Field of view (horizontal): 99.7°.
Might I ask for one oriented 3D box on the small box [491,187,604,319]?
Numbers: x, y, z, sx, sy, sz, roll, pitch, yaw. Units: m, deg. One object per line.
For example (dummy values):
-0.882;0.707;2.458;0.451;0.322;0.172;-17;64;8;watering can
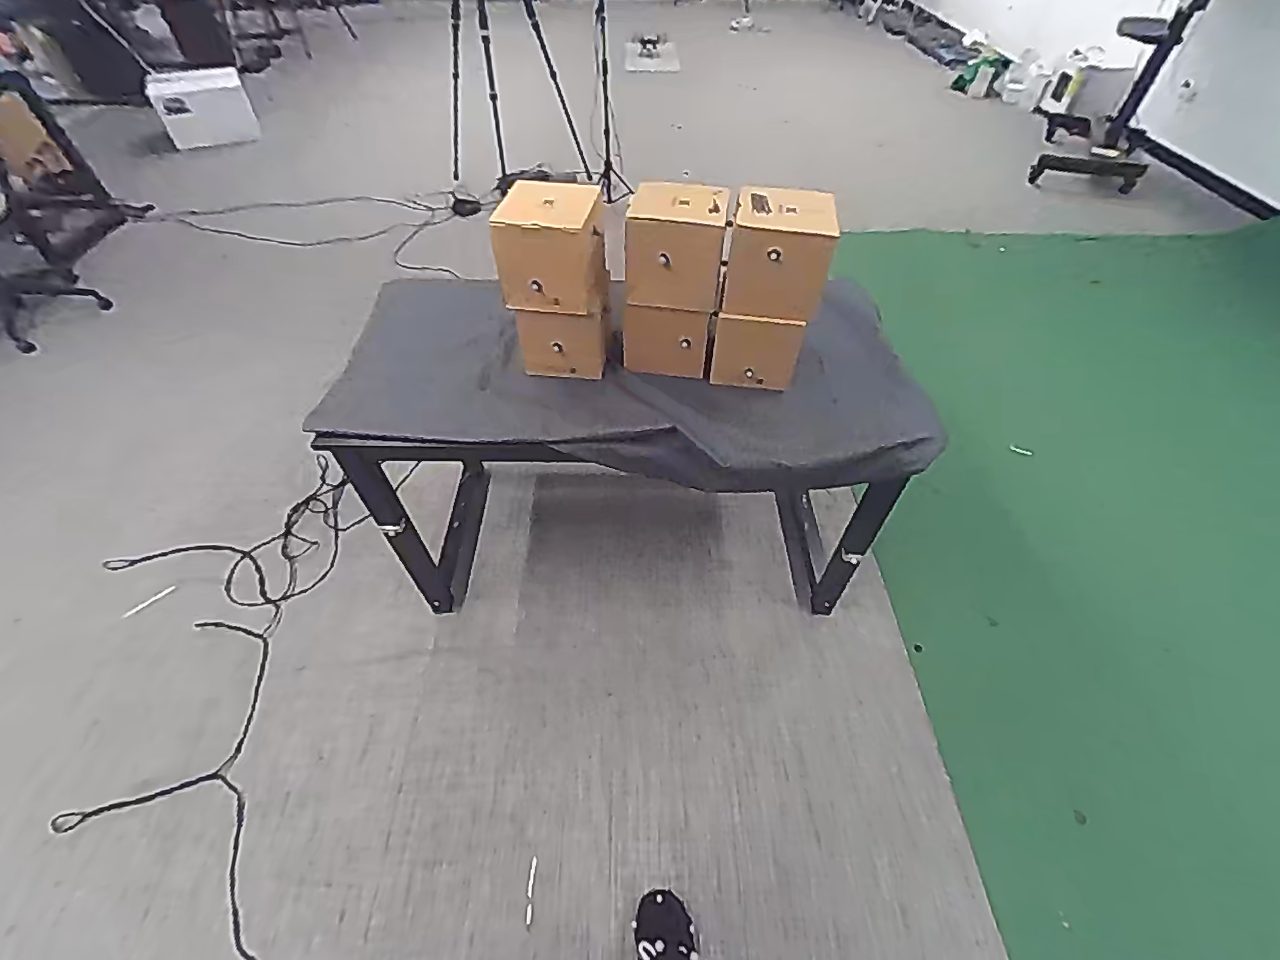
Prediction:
-0.164;-0.433;1.032;0.168;0.176;0.179;6;51;6;small box
